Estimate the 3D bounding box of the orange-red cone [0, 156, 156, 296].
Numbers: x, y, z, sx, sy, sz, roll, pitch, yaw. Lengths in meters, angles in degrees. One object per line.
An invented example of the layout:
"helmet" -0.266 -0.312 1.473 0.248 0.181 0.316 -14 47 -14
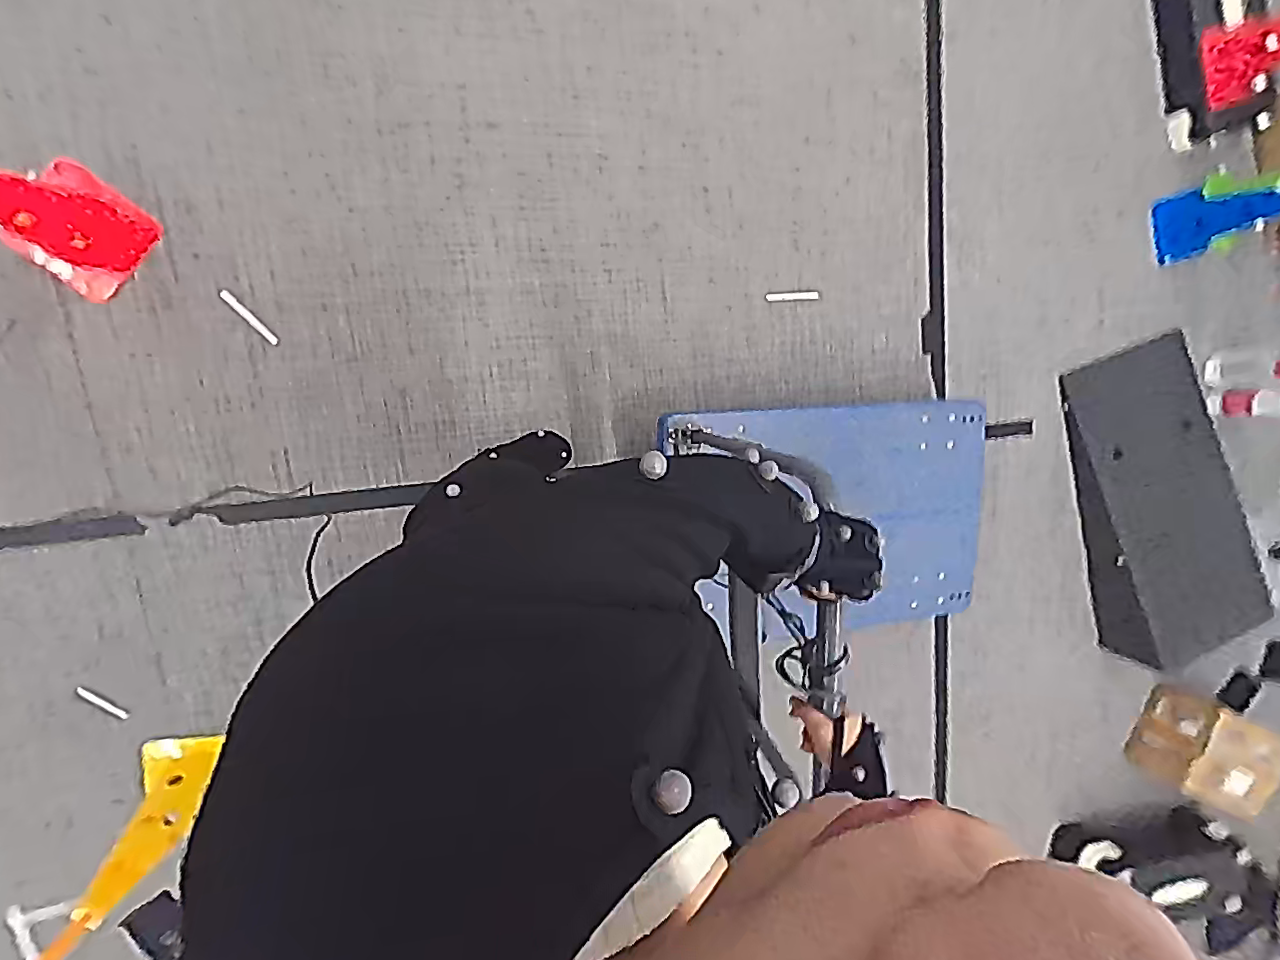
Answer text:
"orange-red cone" -1.036 -0.457 0.877 0.199 0.360 0.198 40 88 -17
